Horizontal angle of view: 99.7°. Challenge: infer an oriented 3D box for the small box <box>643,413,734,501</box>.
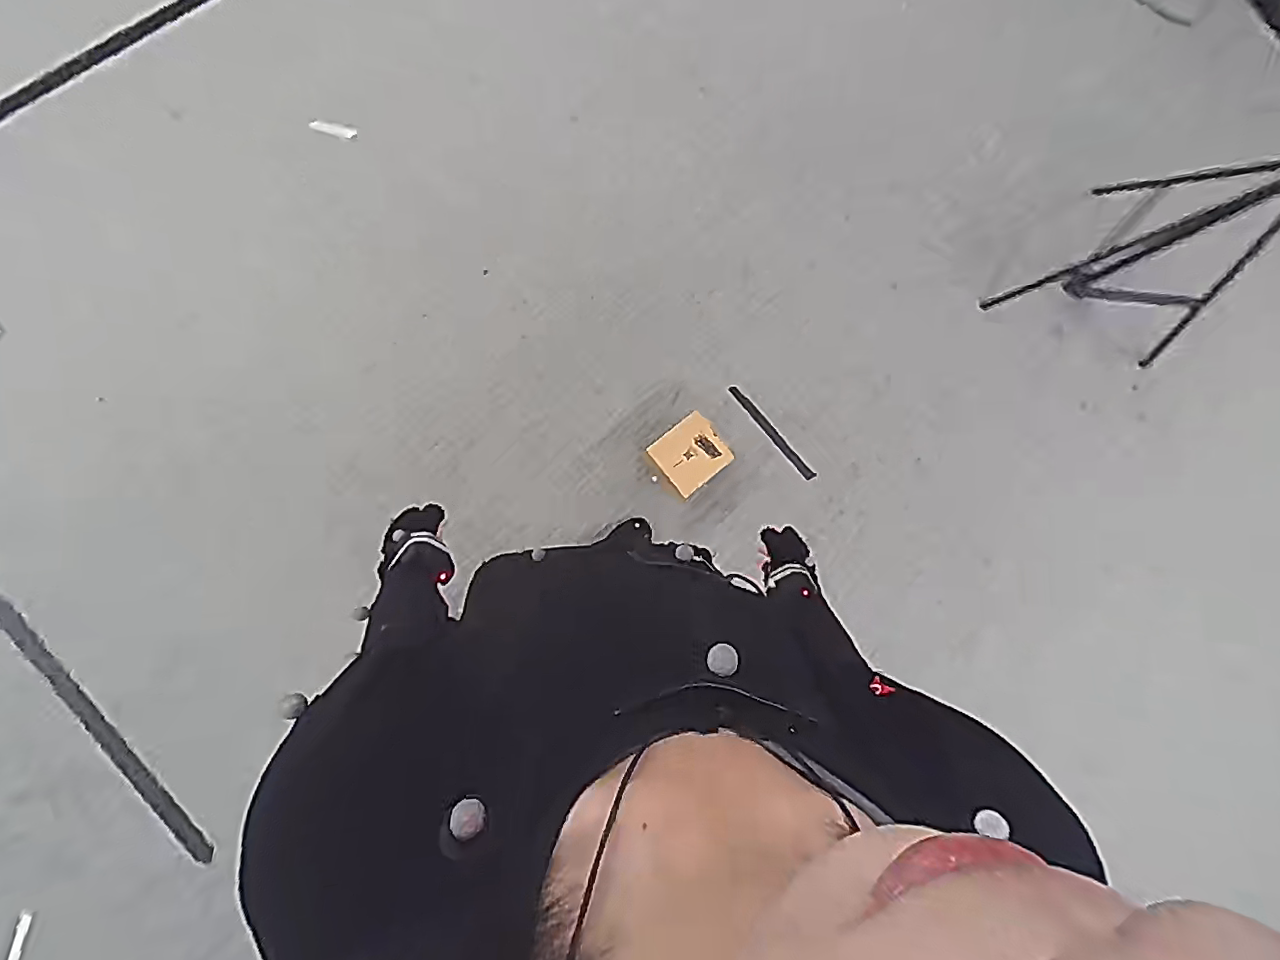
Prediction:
[{"bbox_3d":[0.125,-0.059,1.492,0.179,0.176,0.168,-38,90,-7],"label":"small box"}]
